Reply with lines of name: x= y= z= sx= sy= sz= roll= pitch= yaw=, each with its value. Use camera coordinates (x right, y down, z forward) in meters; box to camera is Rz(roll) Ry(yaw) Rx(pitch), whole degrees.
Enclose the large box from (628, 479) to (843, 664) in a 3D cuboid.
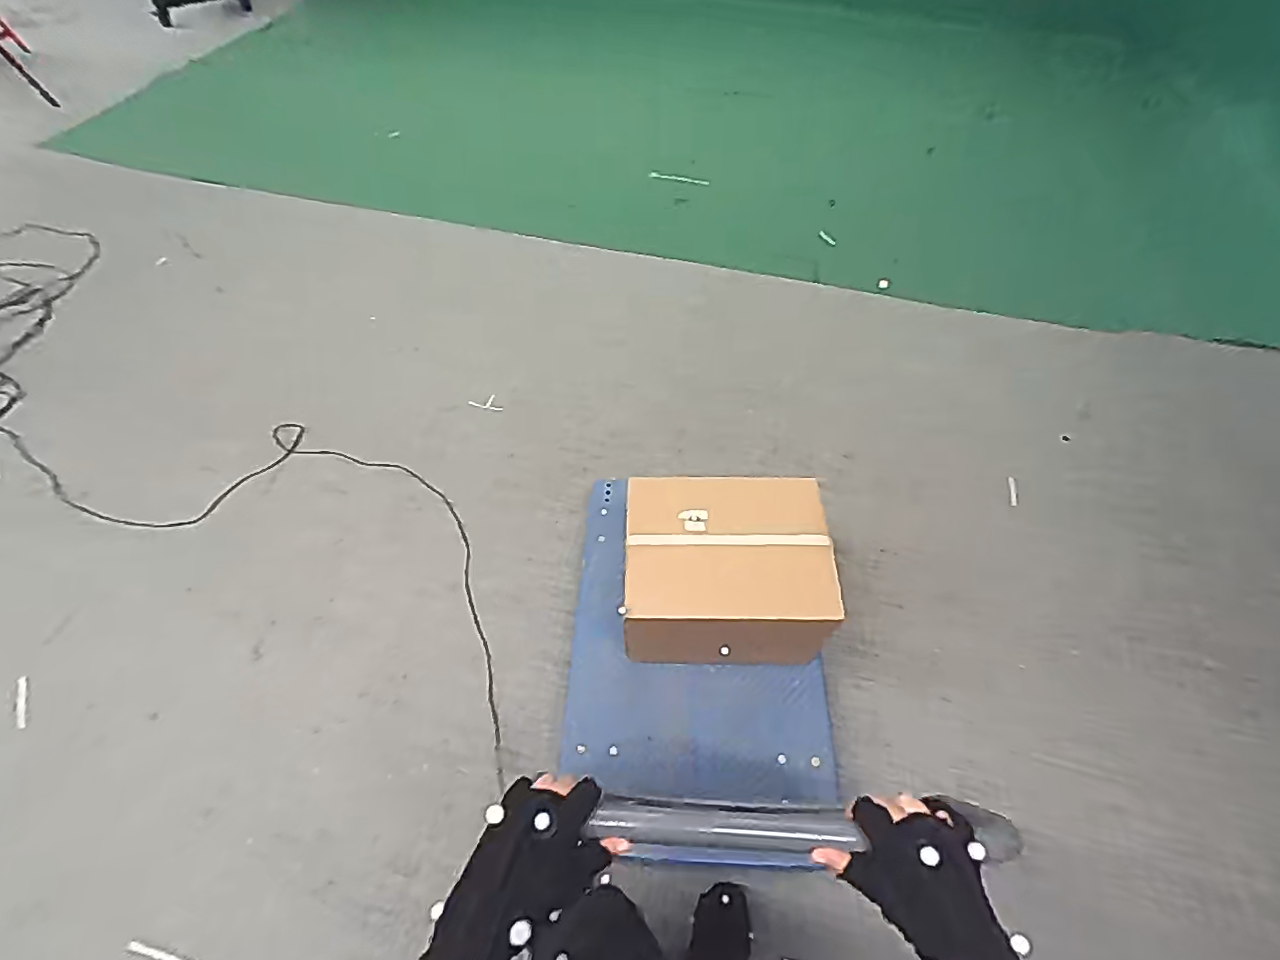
large box: x=0.180 y=0.213 z=1.202 sx=0.408 sy=0.320 sz=0.320 roll=-1 pitch=56 yaw=1
